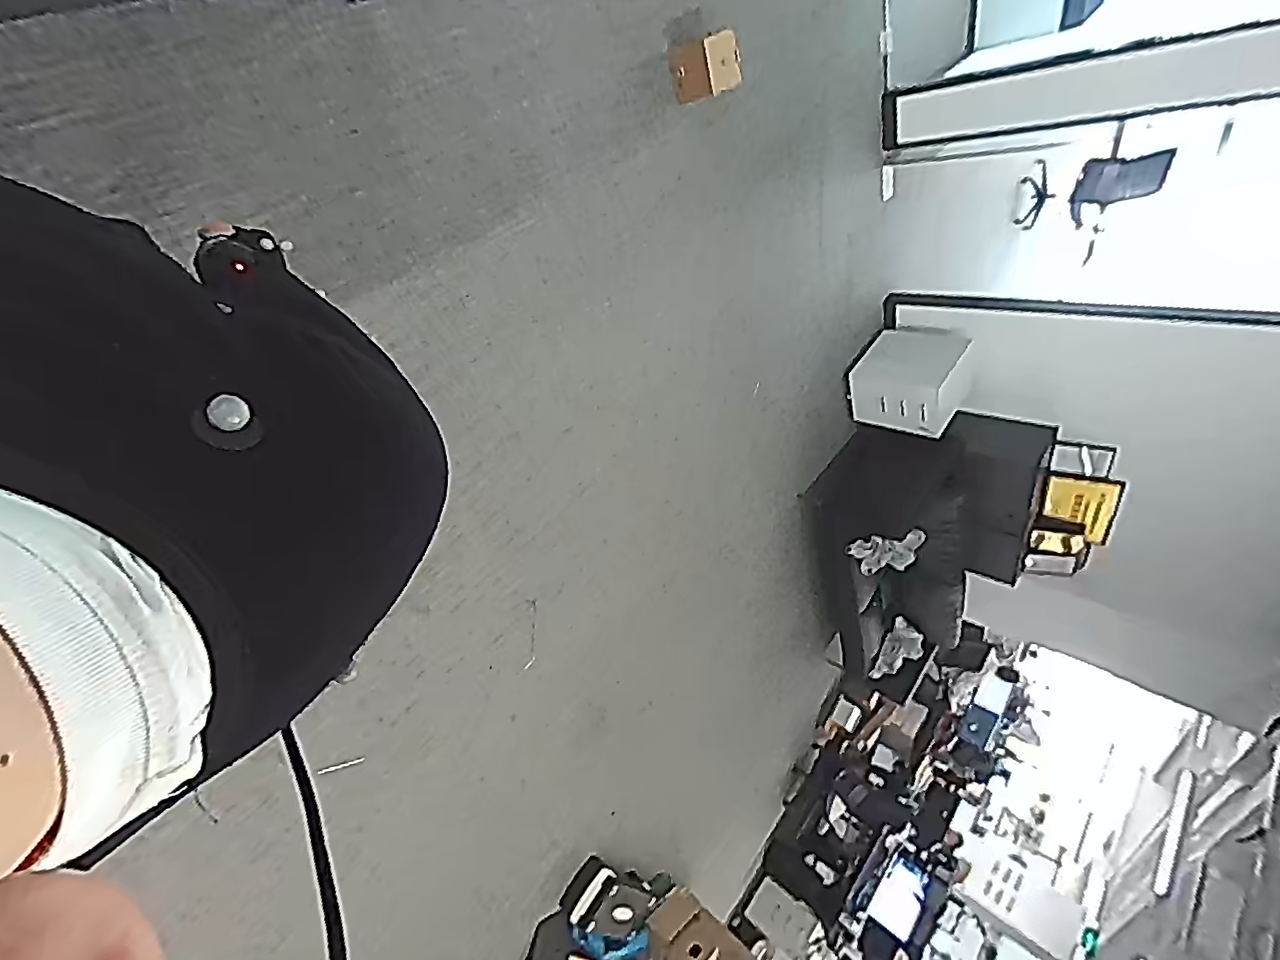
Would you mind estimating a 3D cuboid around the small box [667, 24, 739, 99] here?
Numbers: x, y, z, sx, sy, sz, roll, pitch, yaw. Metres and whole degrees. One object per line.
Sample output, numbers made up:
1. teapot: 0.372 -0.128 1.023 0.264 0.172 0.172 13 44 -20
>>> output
1. small box: 0.224 -1.477 1.912 0.179 0.176 0.168 -41 131 -28
